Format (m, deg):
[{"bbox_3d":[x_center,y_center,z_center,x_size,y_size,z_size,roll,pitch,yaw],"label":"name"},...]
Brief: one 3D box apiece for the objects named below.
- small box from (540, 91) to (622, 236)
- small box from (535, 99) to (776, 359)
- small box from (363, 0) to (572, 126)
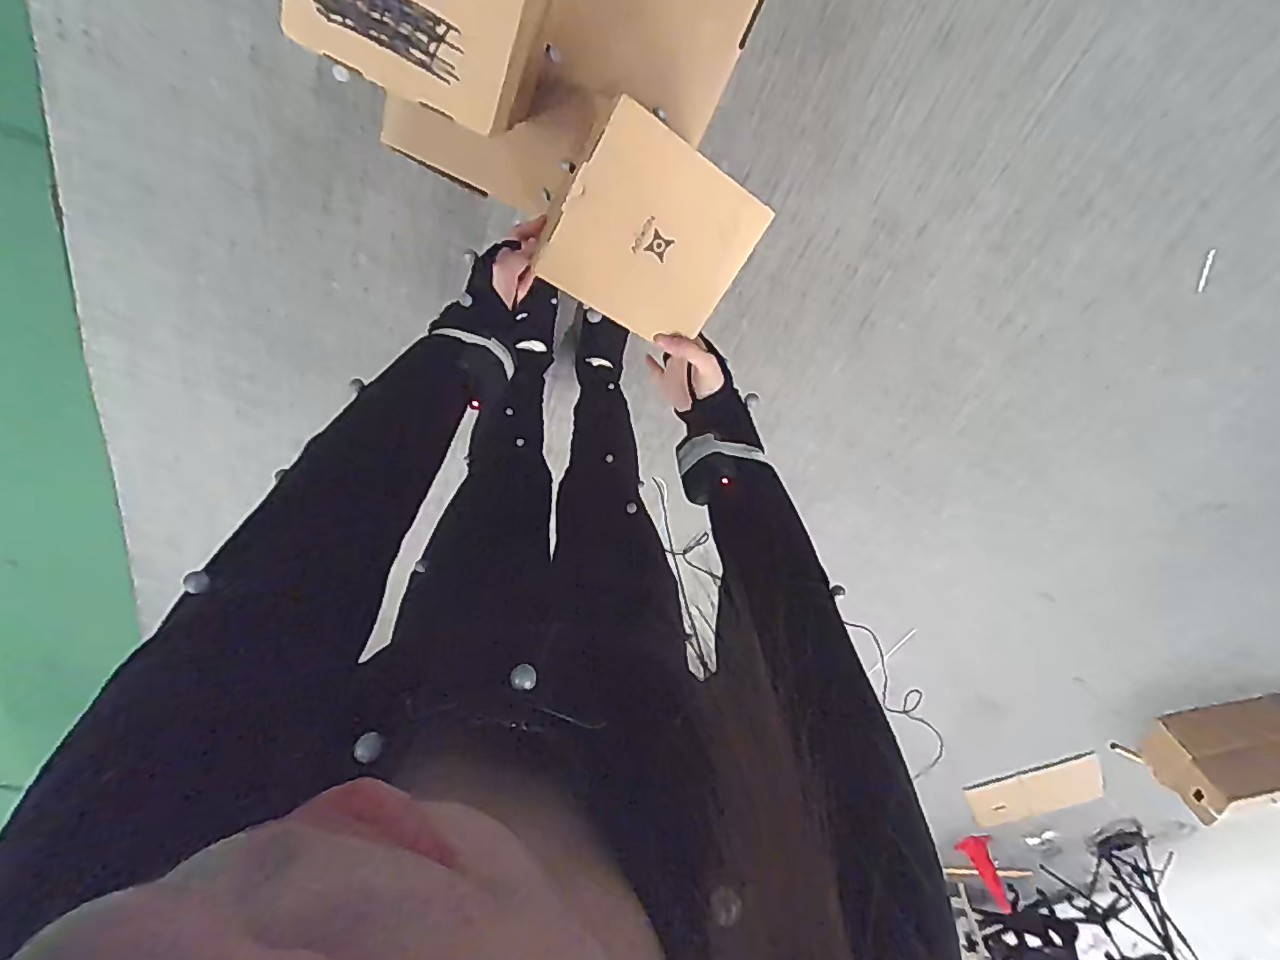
[{"bbox_3d":[-0.020,-0.379,0.721,0.168,0.176,0.179,21,120,-22],"label":"small box"},{"bbox_3d":[0.005,-0.261,0.572,0.179,0.176,0.168,25,113,-22],"label":"small box"},{"bbox_3d":[-0.175,-0.529,0.597,0.168,0.176,0.179,22,120,-19],"label":"small box"}]
